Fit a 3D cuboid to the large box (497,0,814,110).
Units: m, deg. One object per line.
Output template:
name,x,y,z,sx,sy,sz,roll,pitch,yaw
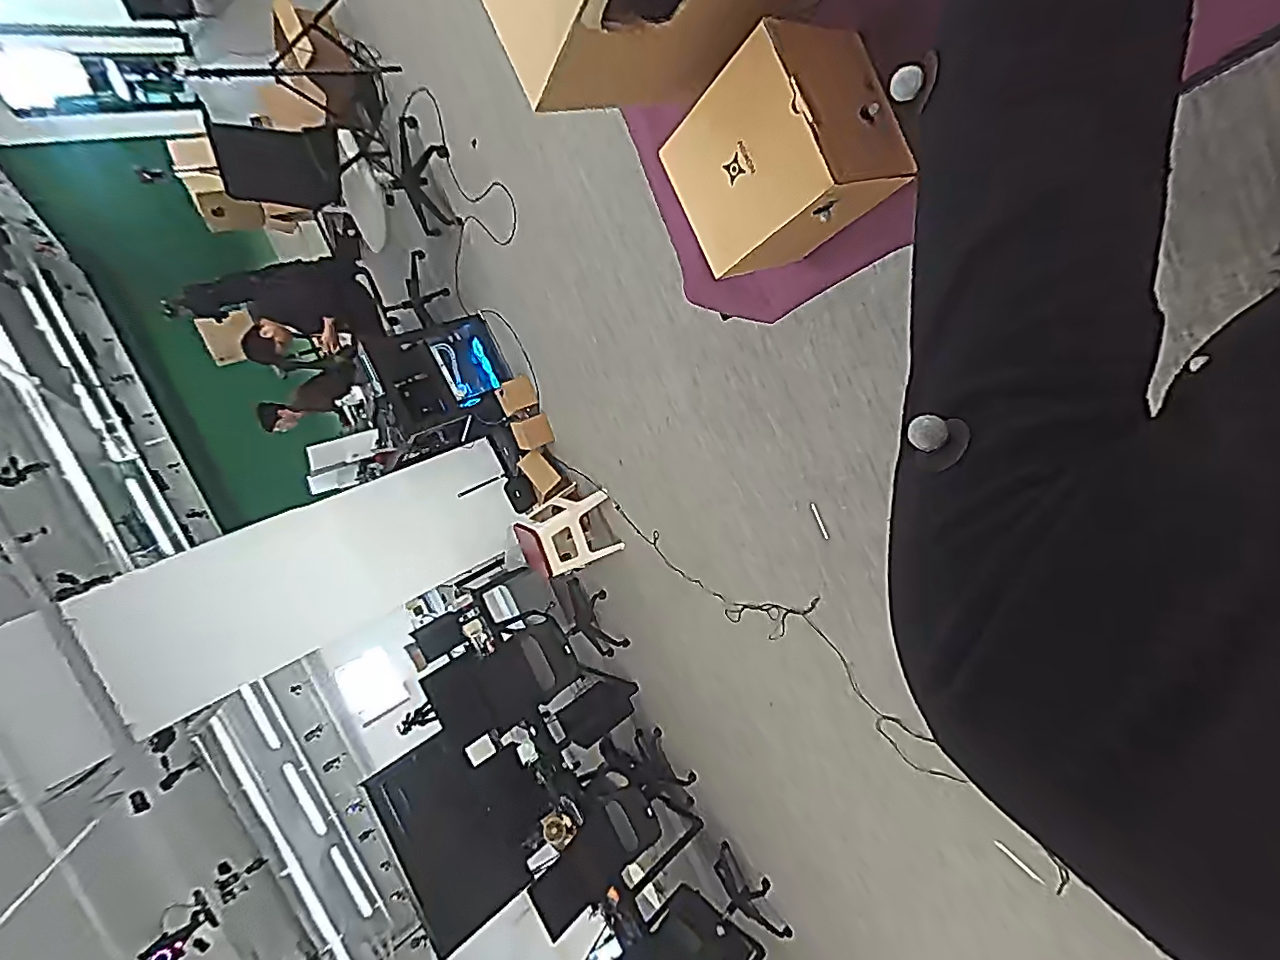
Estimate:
large box,0.004,-0.651,0.501,0.320,0.320,0.408,-17,101,59
